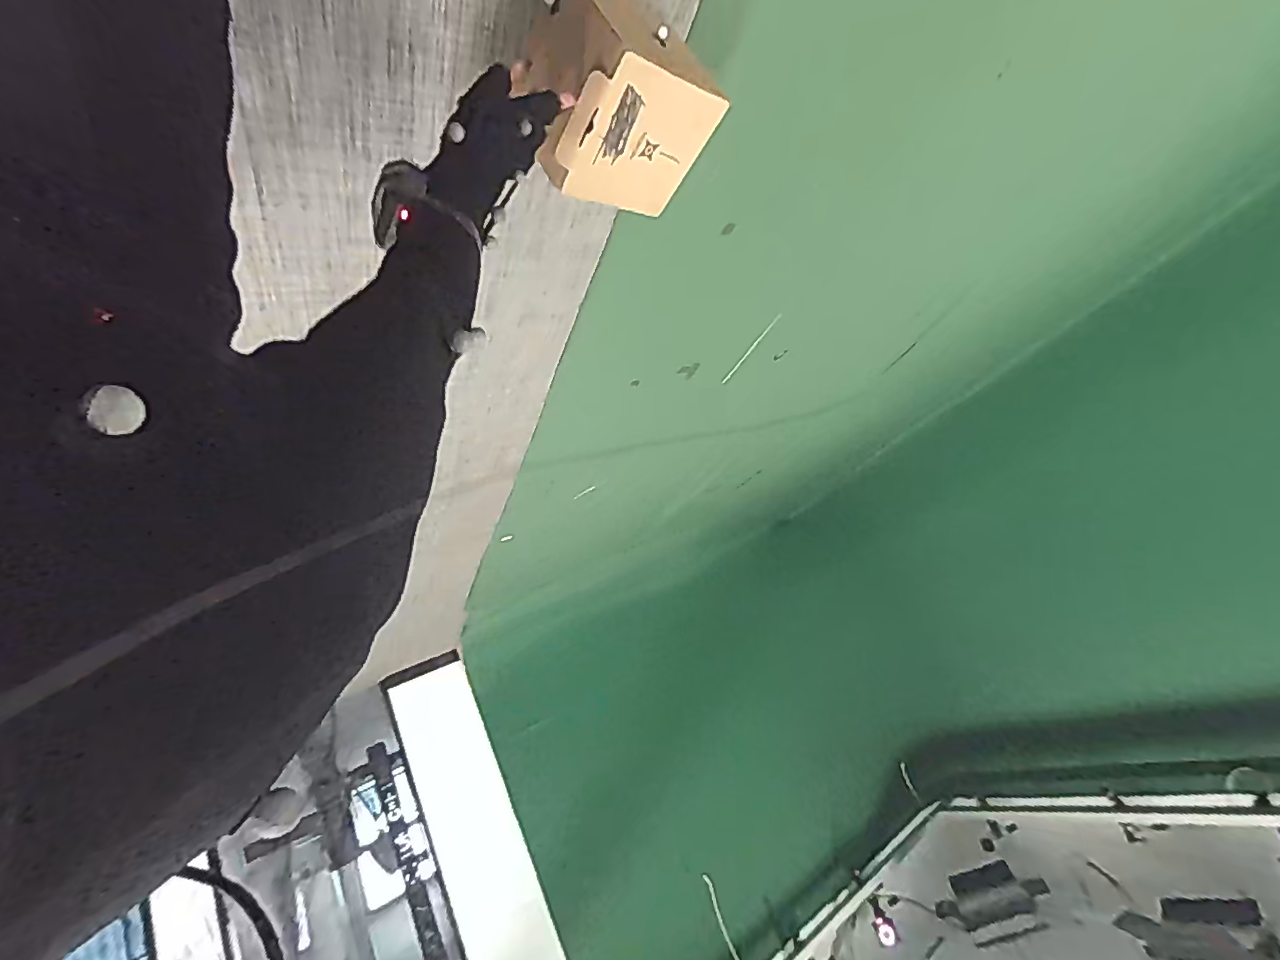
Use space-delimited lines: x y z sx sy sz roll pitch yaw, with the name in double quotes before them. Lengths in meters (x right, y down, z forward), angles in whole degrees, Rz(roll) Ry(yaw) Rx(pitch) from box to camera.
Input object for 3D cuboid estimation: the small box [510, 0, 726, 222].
"small box" -0.036 -0.461 0.672 0.179 0.176 0.168 -12 156 -42
